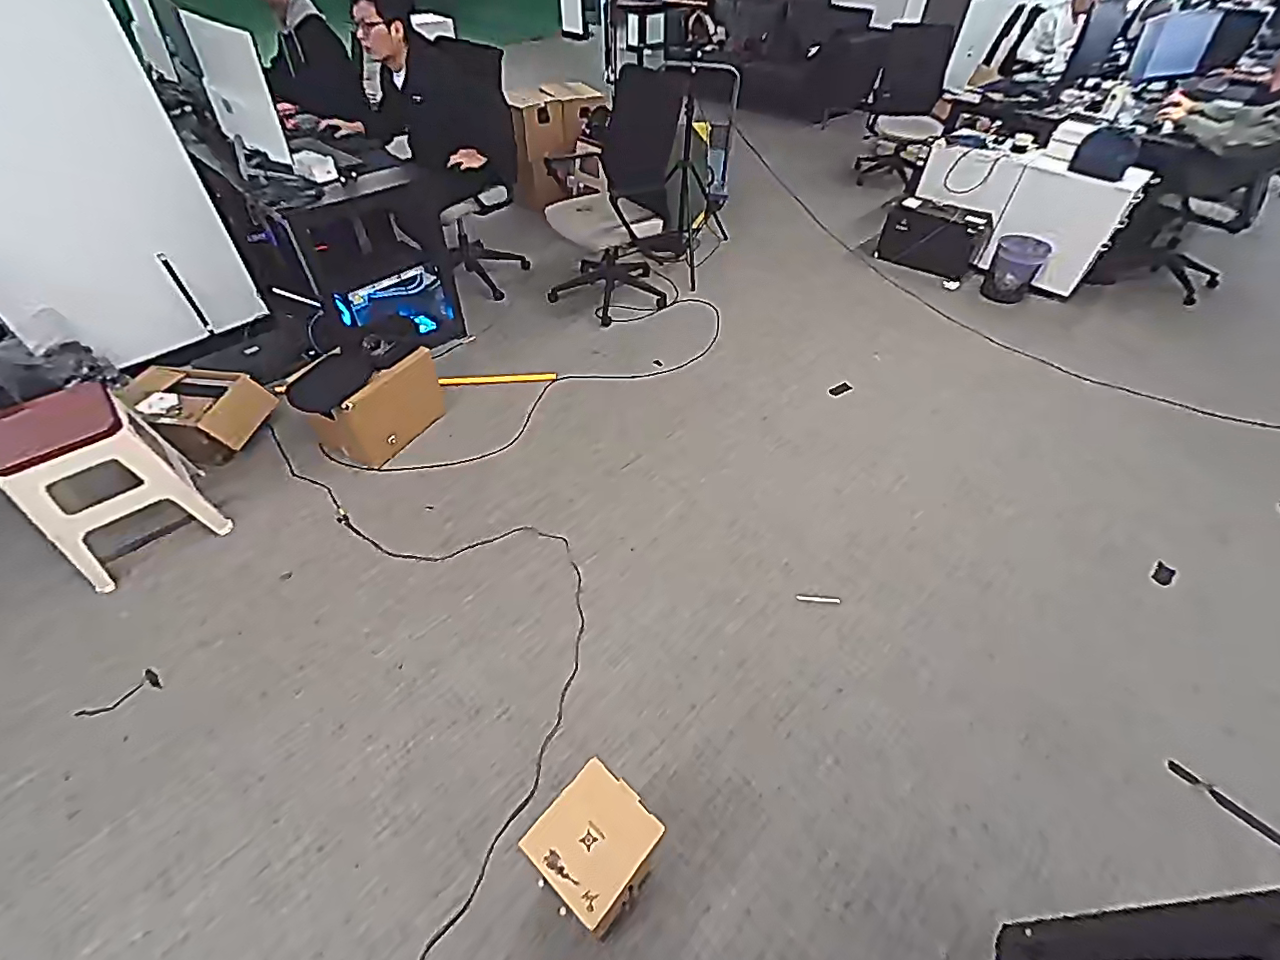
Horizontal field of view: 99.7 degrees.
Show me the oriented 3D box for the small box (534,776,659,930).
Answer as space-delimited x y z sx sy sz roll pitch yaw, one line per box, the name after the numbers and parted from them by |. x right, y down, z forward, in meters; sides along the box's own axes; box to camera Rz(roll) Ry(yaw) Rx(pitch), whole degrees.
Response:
-0.081 0.726 1.050 0.168 0.176 0.179 31 52 23 | small box

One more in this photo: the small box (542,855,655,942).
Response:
-0.088 0.841 1.163 0.168 0.176 0.179 33 55 26 | small box
